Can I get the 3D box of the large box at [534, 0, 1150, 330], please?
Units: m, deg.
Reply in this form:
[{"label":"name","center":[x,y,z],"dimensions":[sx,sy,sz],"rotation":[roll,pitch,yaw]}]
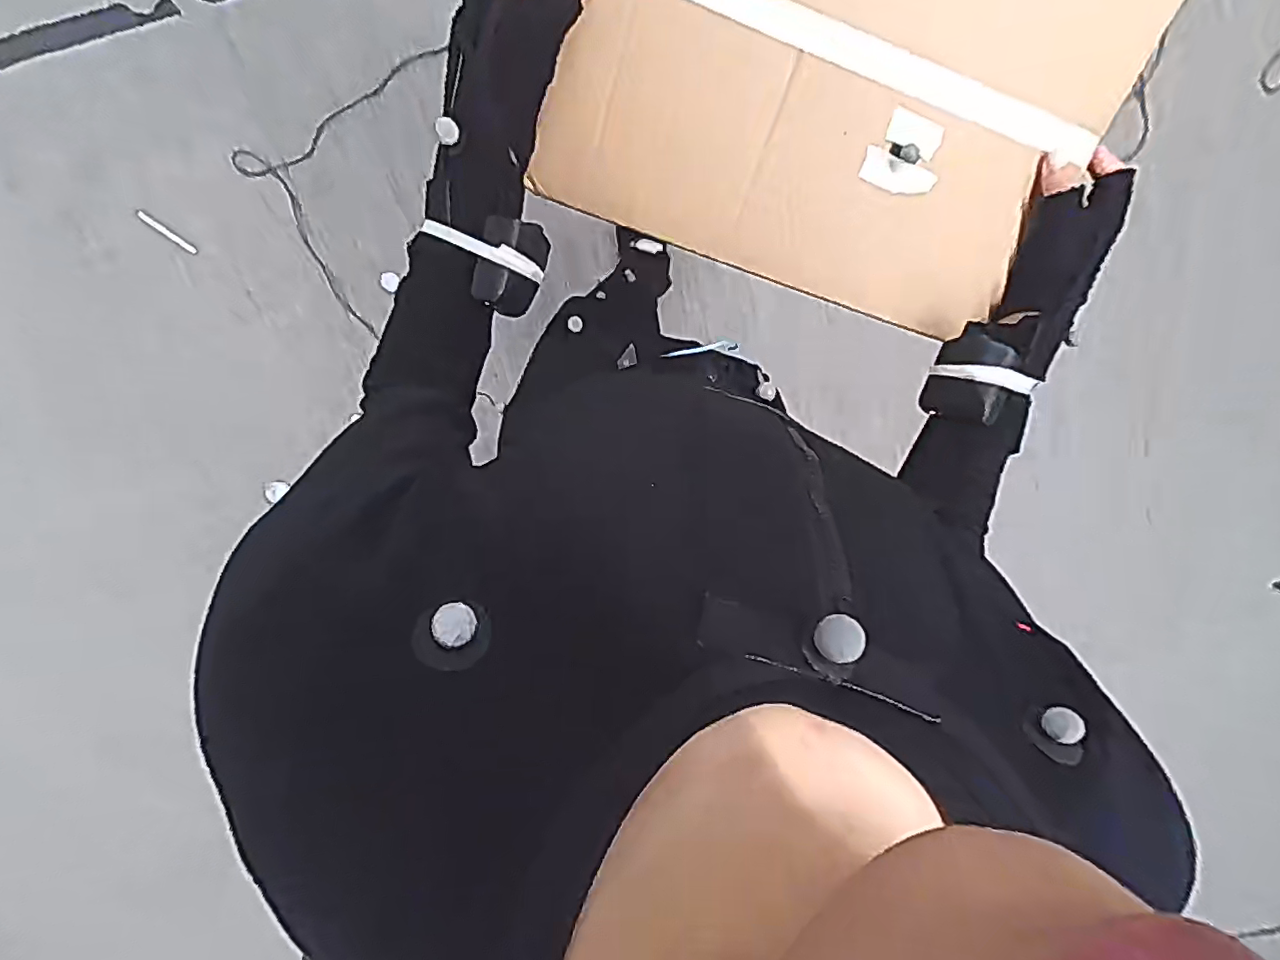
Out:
[{"label":"large box","center":[0.141,-0.383,0.528],"dimensions":[0.408,0.320,0.320],"rotation":[16,117,-10]}]
